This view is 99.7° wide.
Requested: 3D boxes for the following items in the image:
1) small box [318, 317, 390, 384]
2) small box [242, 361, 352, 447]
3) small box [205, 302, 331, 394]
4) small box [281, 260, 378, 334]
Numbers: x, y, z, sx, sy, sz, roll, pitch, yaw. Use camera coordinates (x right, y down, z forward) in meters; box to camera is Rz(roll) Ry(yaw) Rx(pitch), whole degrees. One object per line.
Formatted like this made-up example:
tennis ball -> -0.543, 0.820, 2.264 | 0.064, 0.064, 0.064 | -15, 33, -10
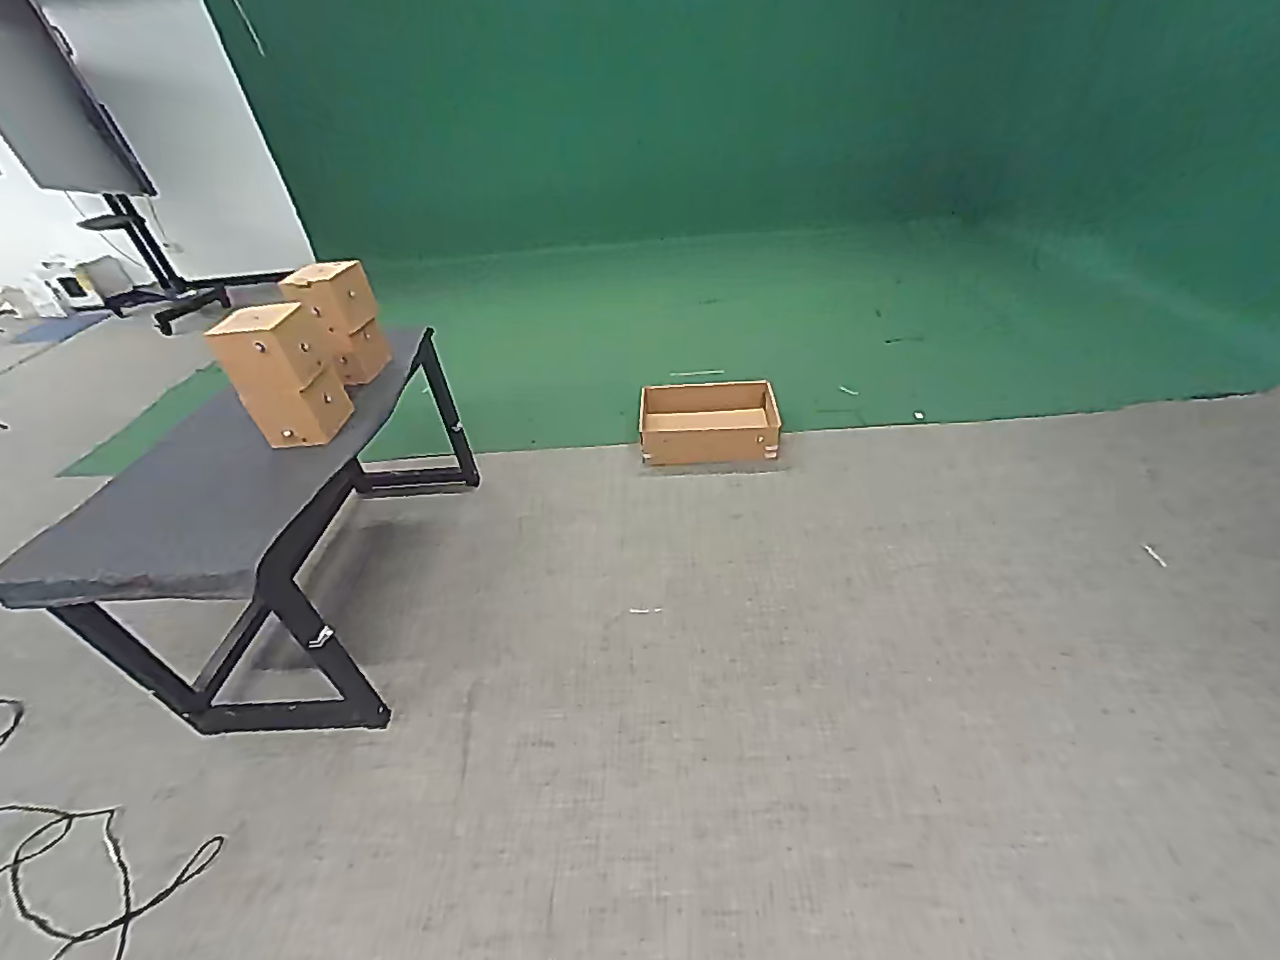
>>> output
small box -> -0.941, -0.421, 1.751 | 0.168, 0.176, 0.179 | -1, 38, 6
small box -> -0.926, -0.210, 1.486 | 0.168, 0.176, 0.179 | -4, 40, 5
small box -> -0.934, -0.335, 1.379 | 0.179, 0.176, 0.168 | -5, 39, 4
small box -> -0.939, -0.557, 1.656 | 0.168, 0.176, 0.179 | 1, 40, 8
